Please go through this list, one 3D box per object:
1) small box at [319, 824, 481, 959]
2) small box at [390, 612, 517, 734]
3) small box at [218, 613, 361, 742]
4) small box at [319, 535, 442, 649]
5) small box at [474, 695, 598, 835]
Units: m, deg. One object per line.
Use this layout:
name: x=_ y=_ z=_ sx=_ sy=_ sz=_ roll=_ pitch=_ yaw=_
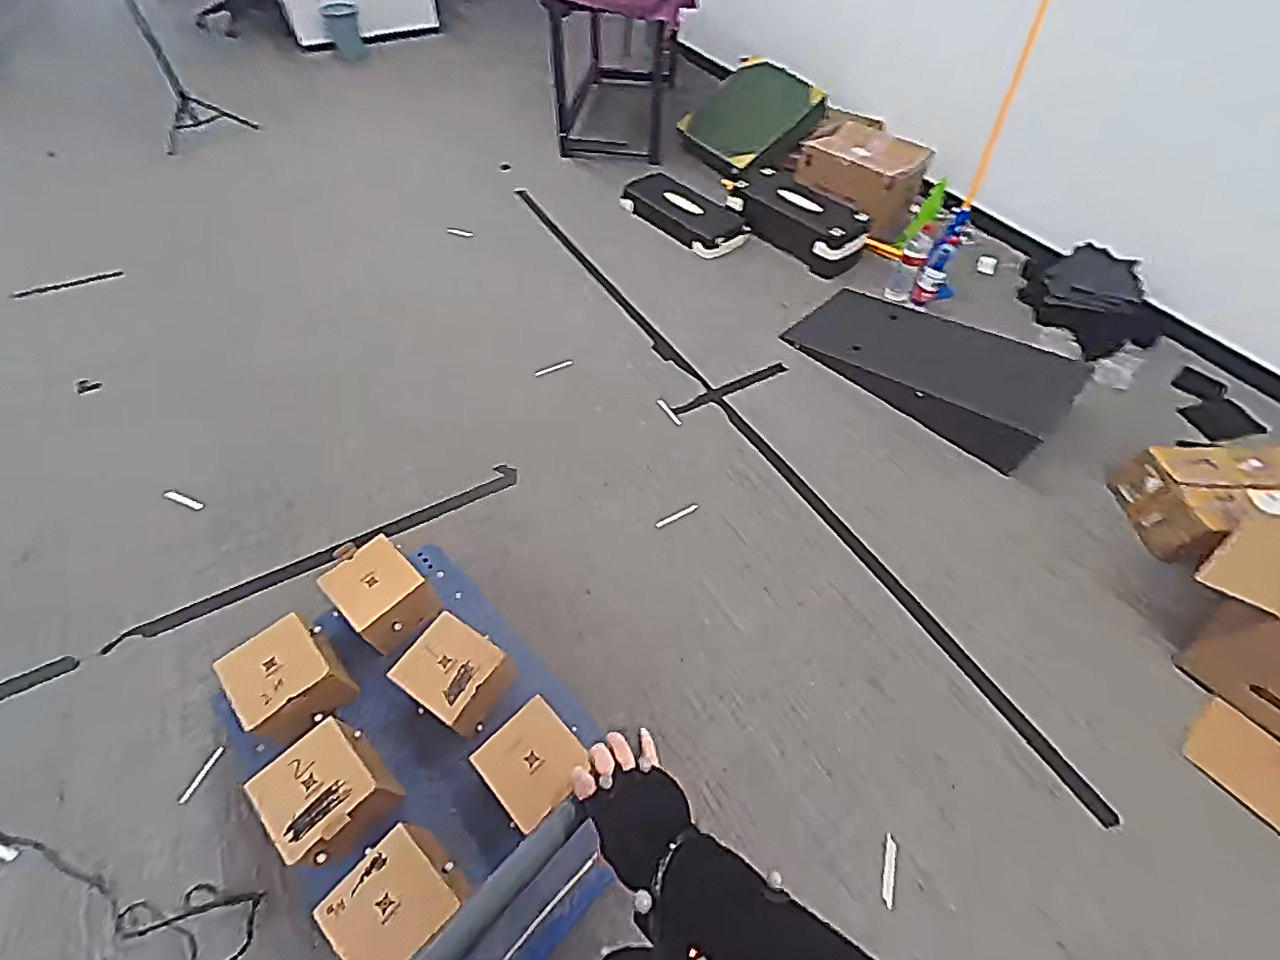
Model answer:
small box: x=-0.401 y=0.734 z=0.935 sx=0.179 sy=0.176 sz=0.168 roll=37 pitch=60 yaw=21
small box: x=-0.388 y=0.419 z=1.159 sx=0.179 sy=0.176 sz=0.168 roll=28 pitch=58 yaw=17
small box: x=-0.730 y=0.420 z=1.141 sx=0.168 sy=0.176 sz=0.179 roll=-37 pitch=65 yaw=-25
small box: x=-0.592 y=0.268 z=1.257 sx=0.179 sy=0.176 sz=0.168 roll=37 pitch=61 yaw=21
small box: x=-0.195 y=0.564 z=1.068 sx=0.168 sy=0.176 sz=0.179 roll=-38 pitch=64 yaw=-26
